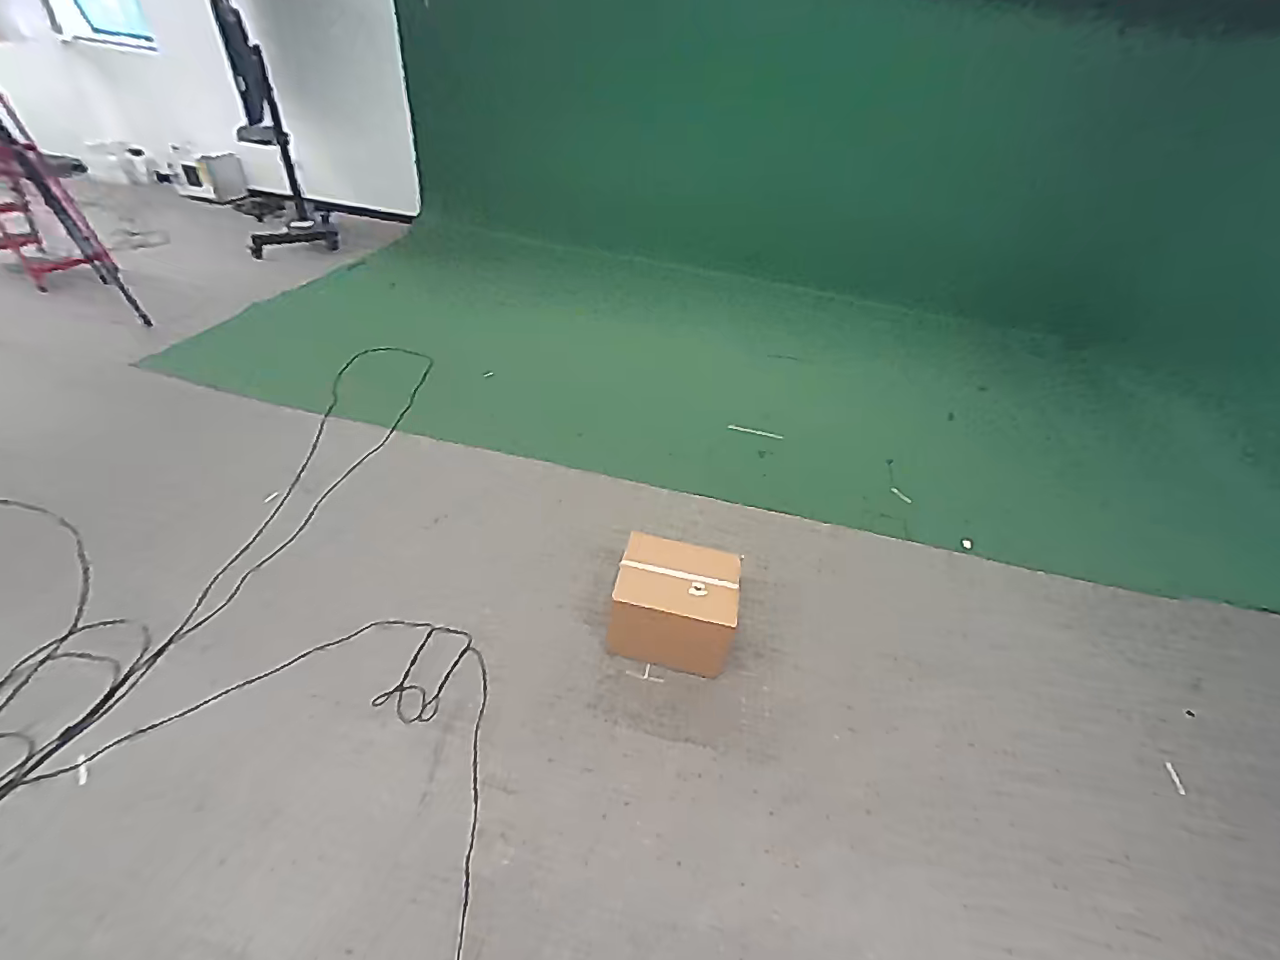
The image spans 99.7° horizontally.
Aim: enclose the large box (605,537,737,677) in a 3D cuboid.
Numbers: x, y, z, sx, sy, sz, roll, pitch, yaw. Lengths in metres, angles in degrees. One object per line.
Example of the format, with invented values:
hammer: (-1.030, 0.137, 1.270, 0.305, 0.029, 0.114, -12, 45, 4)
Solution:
large box: (0.108, 0.446, 1.912, 0.408, 0.320, 0.320, 11, 39, 4)
